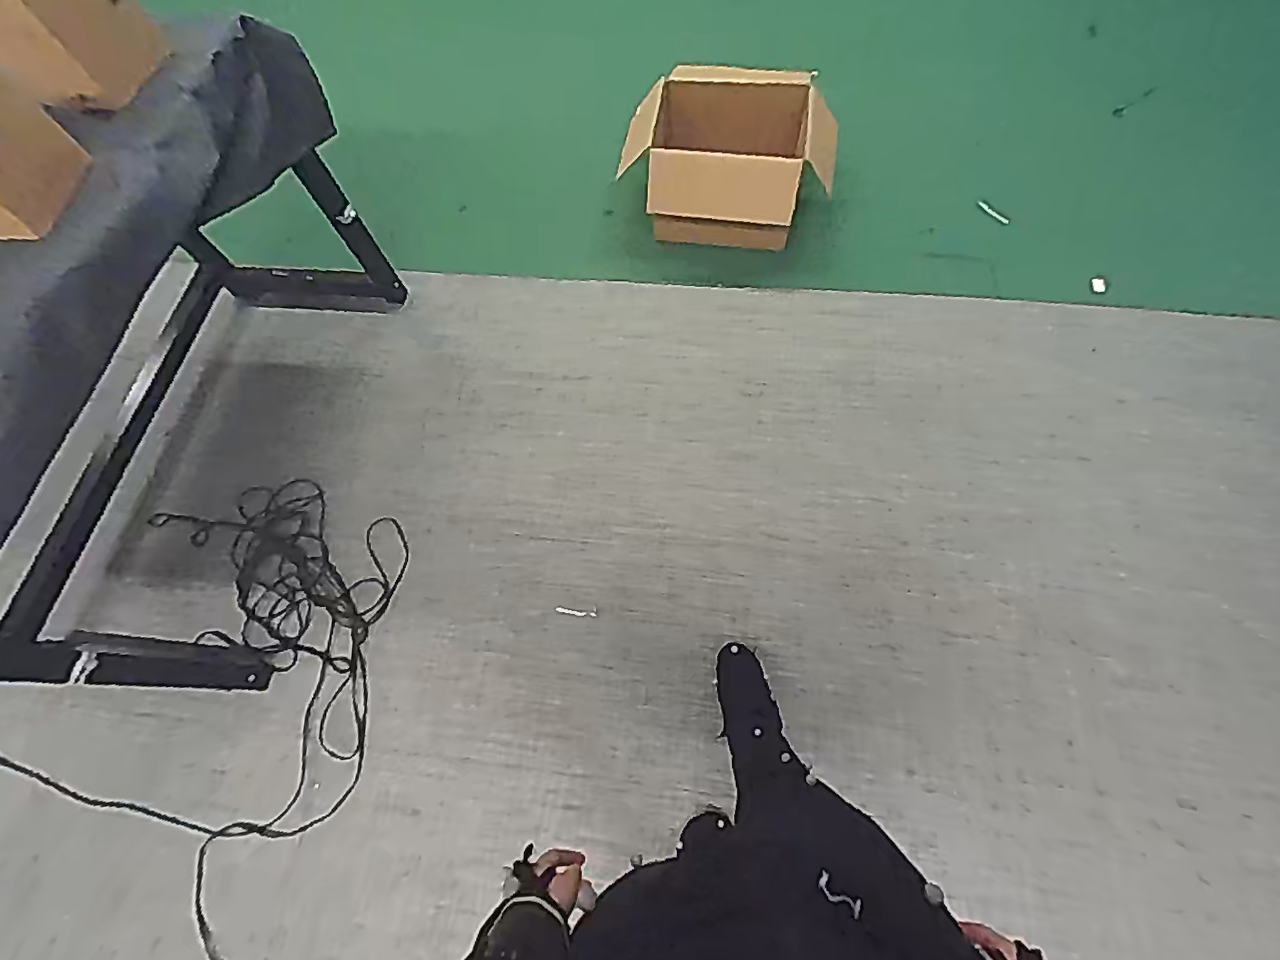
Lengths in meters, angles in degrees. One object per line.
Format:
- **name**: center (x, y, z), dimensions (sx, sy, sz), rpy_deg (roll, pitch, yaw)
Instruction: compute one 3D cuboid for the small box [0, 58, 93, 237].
- **small box**: center (-0.969, -0.485, 0.783), dimensions (0.168, 0.176, 0.179), rpy_deg (3, 68, 5)
